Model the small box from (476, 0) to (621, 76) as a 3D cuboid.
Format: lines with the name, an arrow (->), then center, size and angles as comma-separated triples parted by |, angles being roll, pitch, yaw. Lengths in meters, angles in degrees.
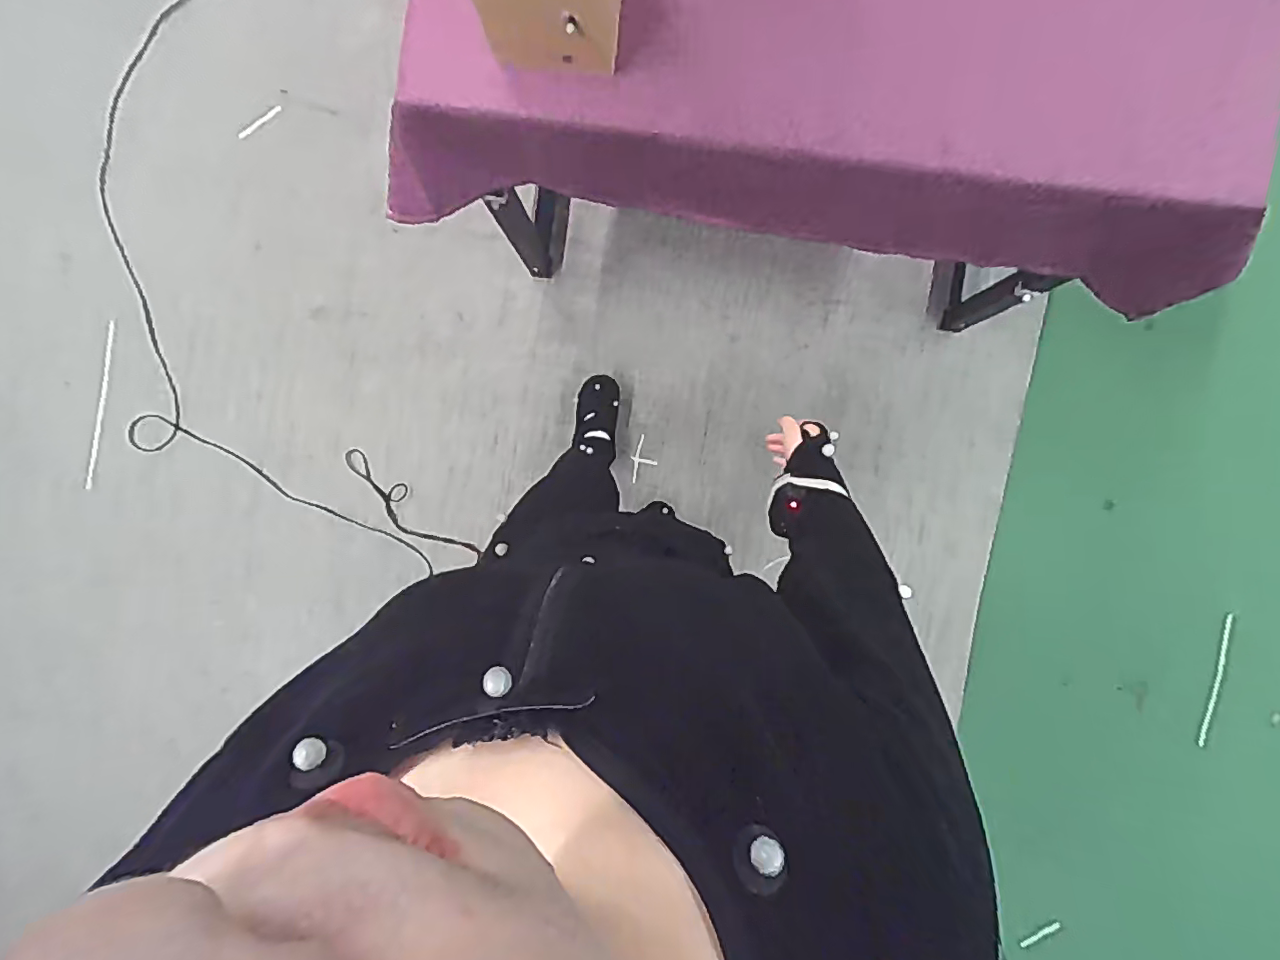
small box -> -0.110, -0.653, 0.675 | 0.168, 0.176, 0.179 | 7, 90, 0
